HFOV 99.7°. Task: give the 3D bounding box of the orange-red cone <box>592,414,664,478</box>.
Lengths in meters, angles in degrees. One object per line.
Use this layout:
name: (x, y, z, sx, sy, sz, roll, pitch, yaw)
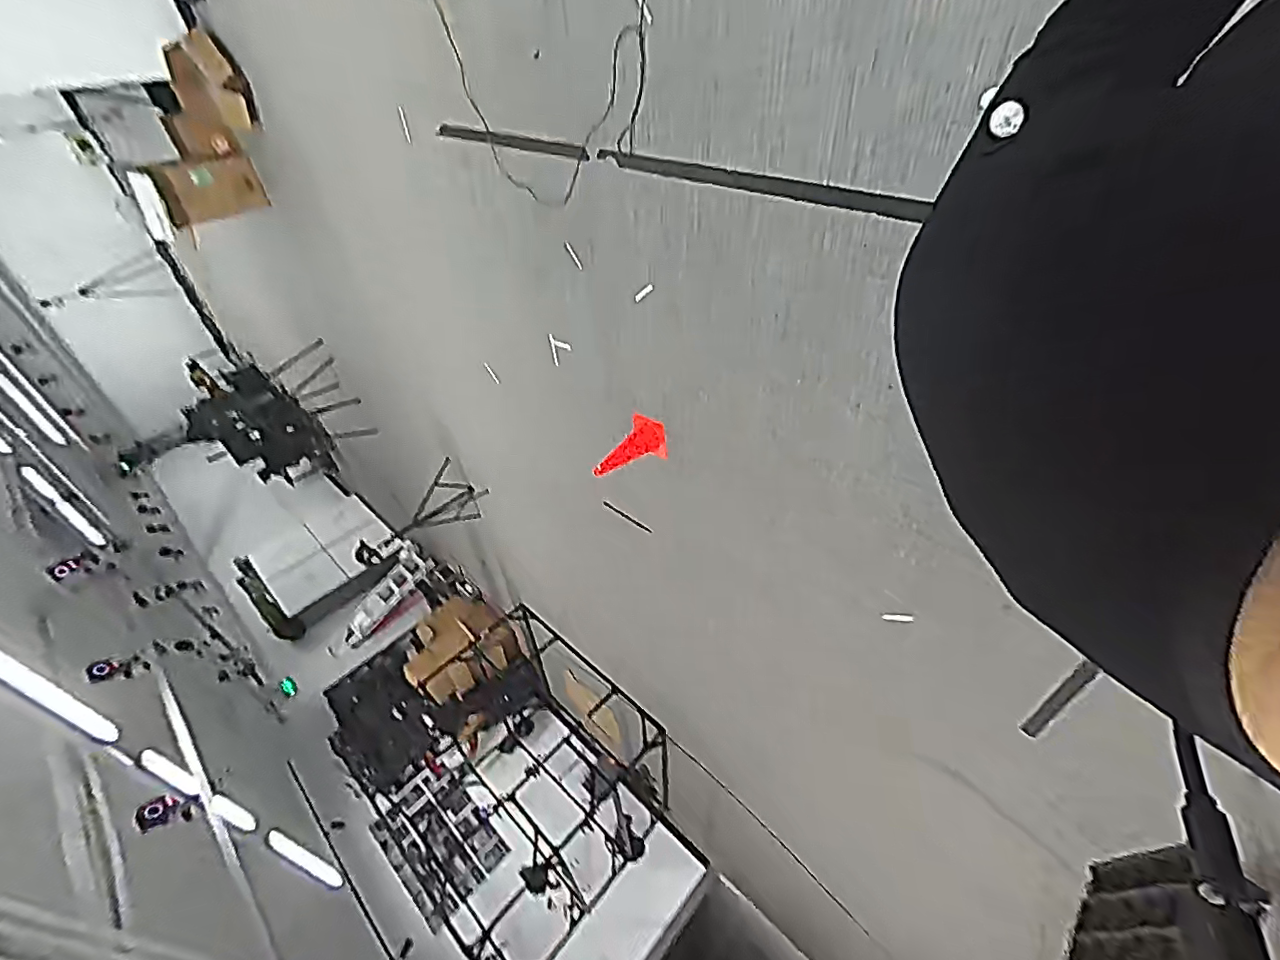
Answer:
orange-red cone: (-0.080, -0.118, 2.466, 0.199, 0.360, 0.198, 26, 140, 35)
